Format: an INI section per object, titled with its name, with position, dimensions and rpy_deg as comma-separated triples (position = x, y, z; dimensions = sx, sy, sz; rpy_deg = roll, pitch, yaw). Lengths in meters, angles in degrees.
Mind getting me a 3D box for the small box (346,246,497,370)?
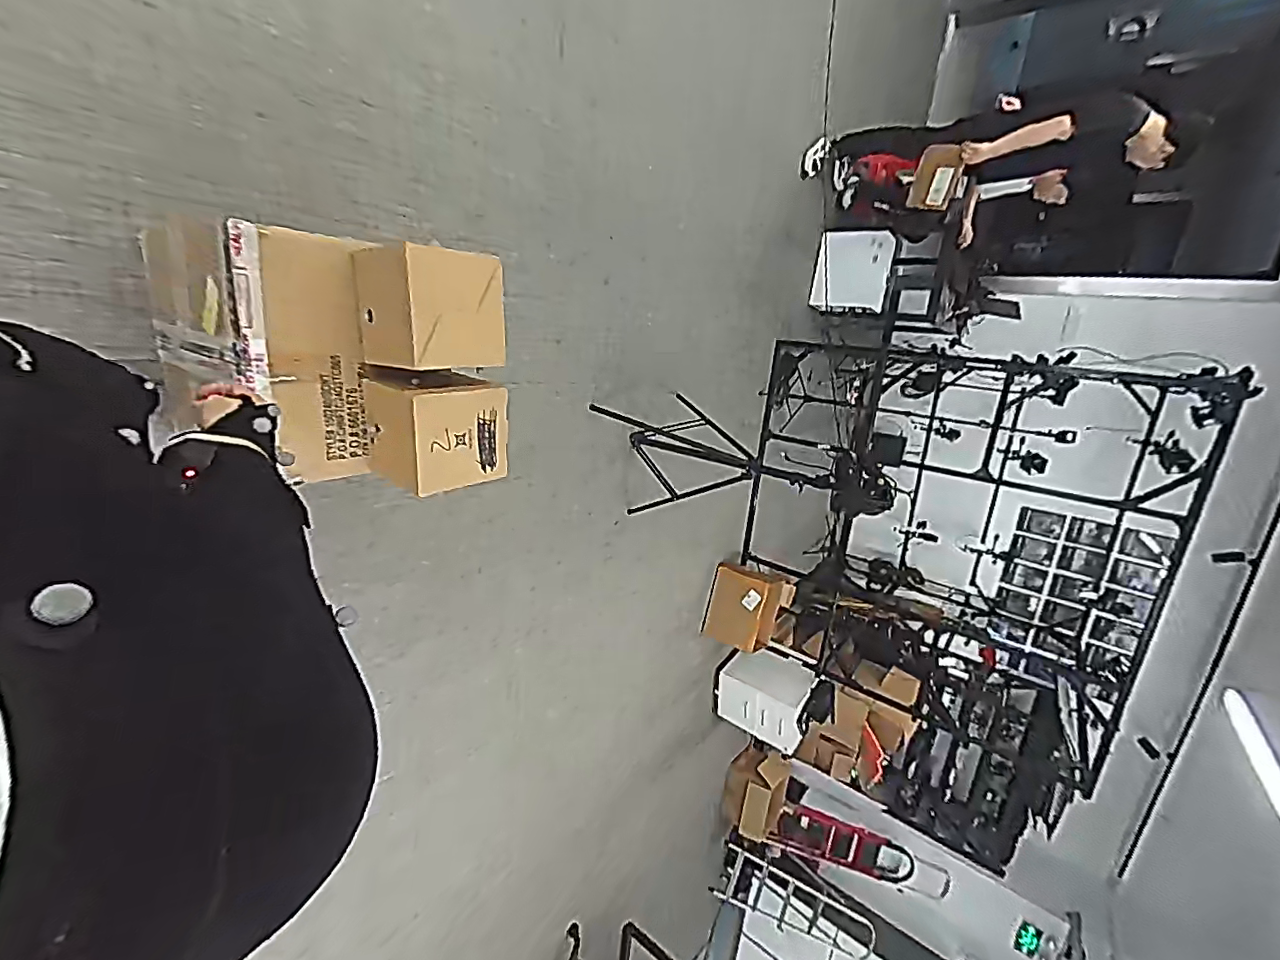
[small box]
position = -0.352, -0.275, 0.886
dimensions = 0.168, 0.176, 0.179
rpy_deg = -17, 115, -50
